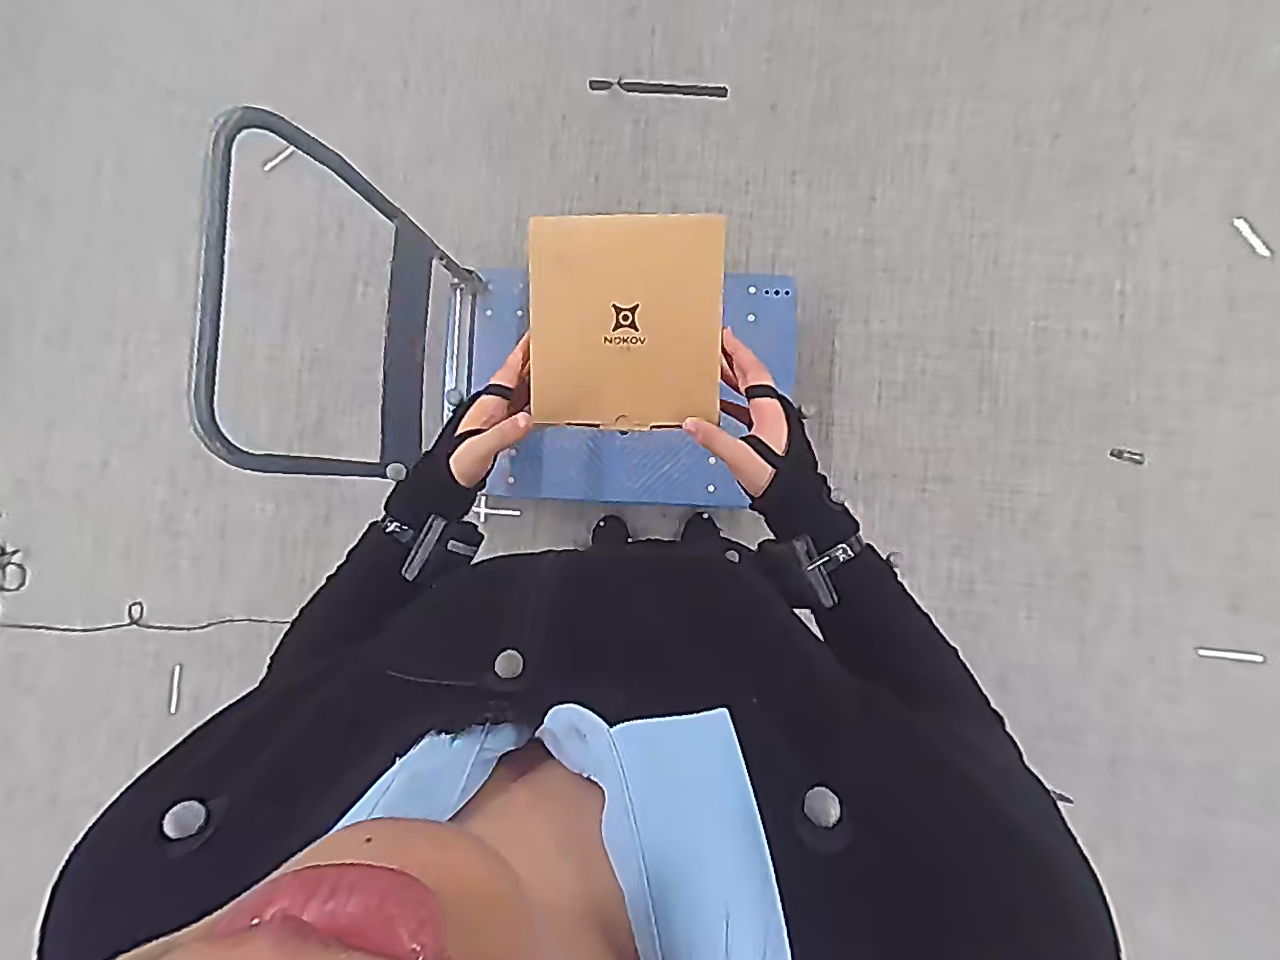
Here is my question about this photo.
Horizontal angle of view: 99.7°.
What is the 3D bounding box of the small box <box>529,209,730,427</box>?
[{"bbox_3d":[-0.007,-0.145,0.529,0.168,0.176,0.179,2,99,4],"label":"small box"}]
